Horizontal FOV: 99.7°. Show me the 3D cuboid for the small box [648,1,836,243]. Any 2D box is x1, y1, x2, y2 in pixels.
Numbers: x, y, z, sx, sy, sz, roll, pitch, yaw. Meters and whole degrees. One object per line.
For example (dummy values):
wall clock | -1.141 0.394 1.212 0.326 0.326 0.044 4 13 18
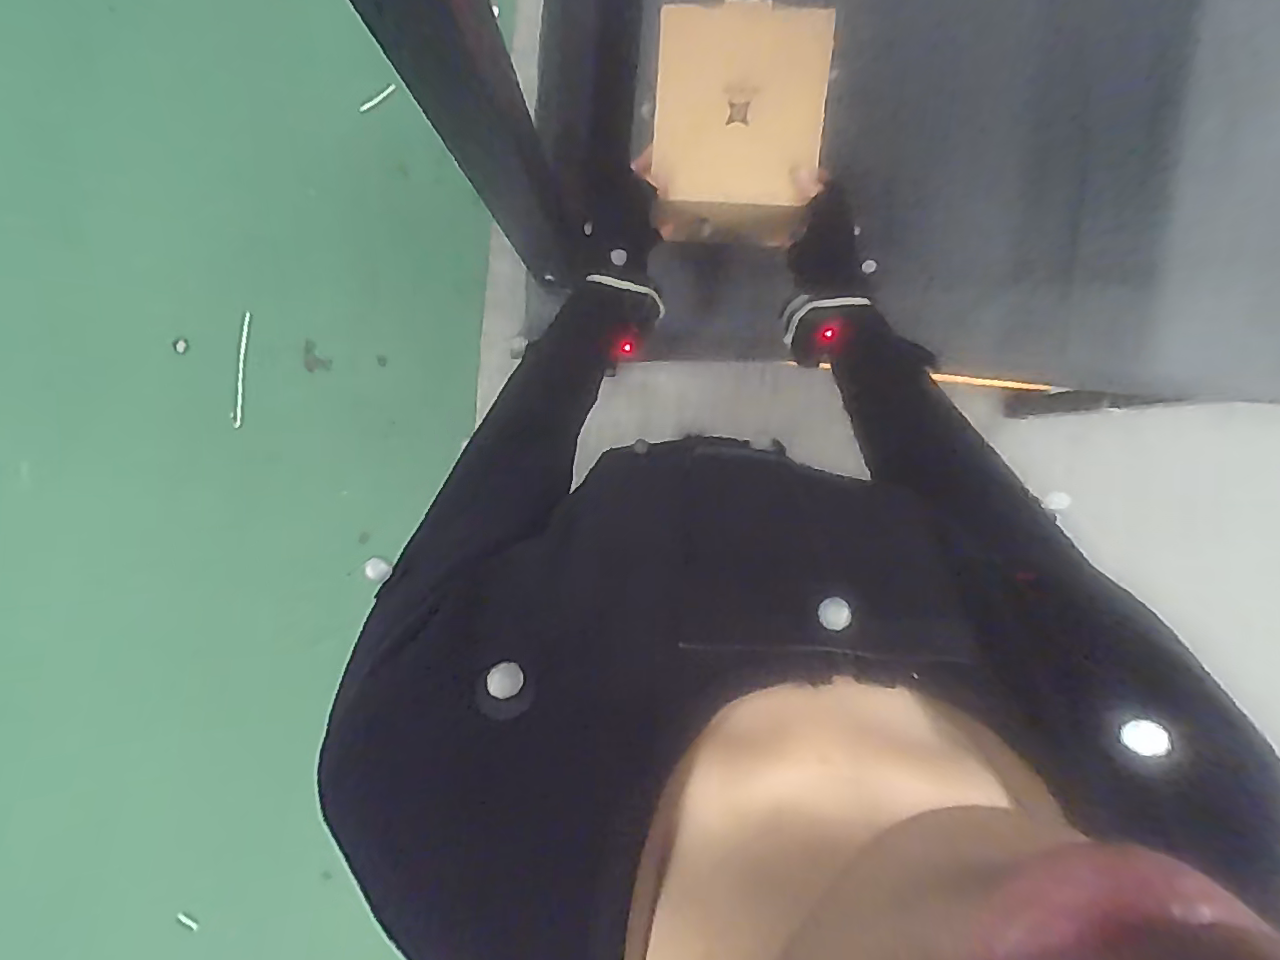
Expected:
small box | 0.102 -0.374 0.599 0.168 0.176 0.179 4 99 3
